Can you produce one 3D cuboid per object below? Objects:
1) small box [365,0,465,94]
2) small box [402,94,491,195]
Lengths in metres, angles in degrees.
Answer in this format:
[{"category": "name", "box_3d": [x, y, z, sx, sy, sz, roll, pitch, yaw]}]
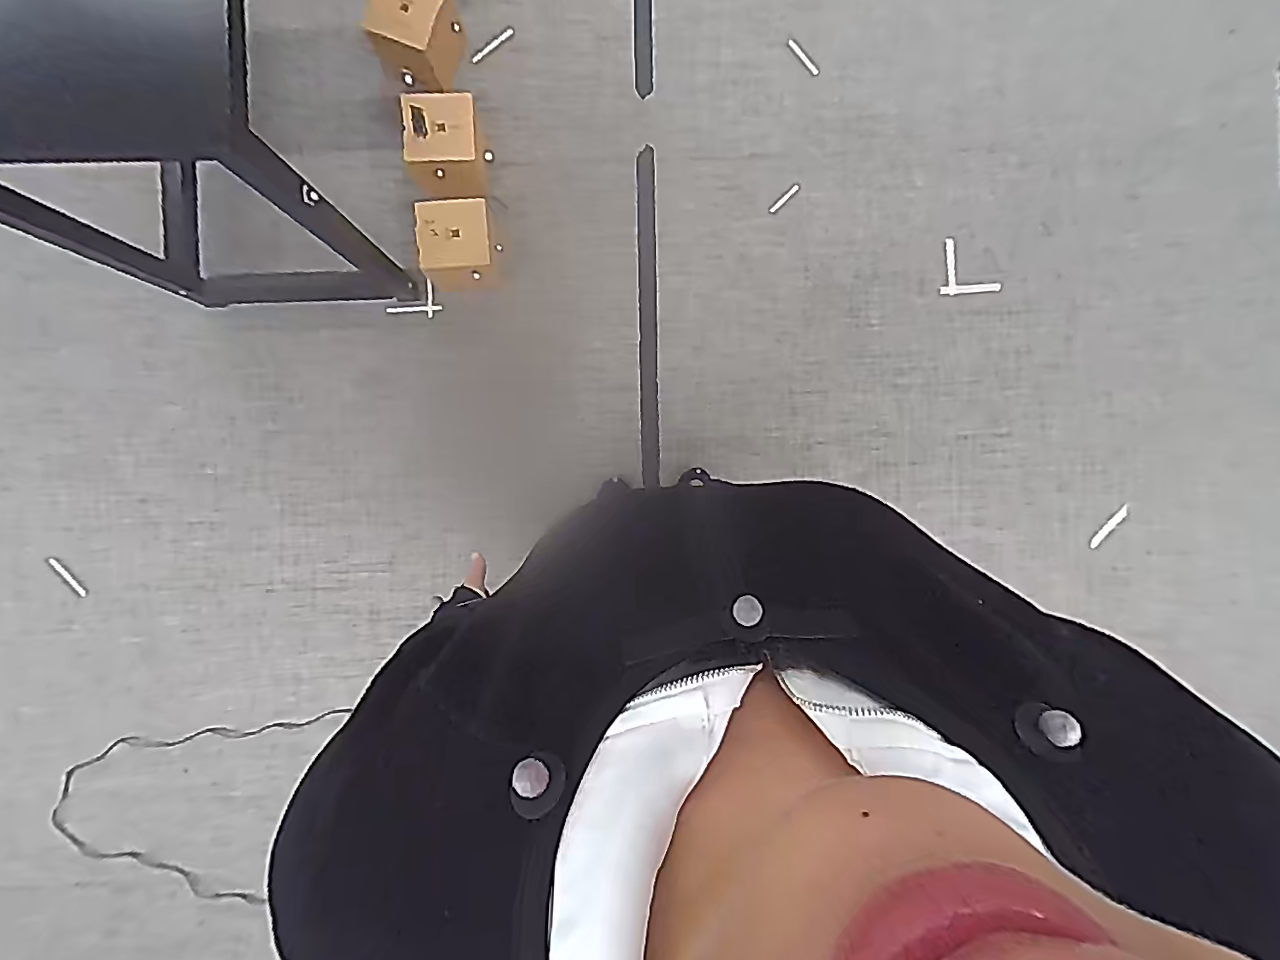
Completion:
[{"category": "small box", "box_3d": [-0.572, -1.156, 1.400, 0.168, 0.176, 0.179, 19, 92, -1]}, {"category": "small box", "box_3d": [-0.496, -0.864, 1.406, 0.179, 0.176, 0.168, -3, 91, -3]}]
